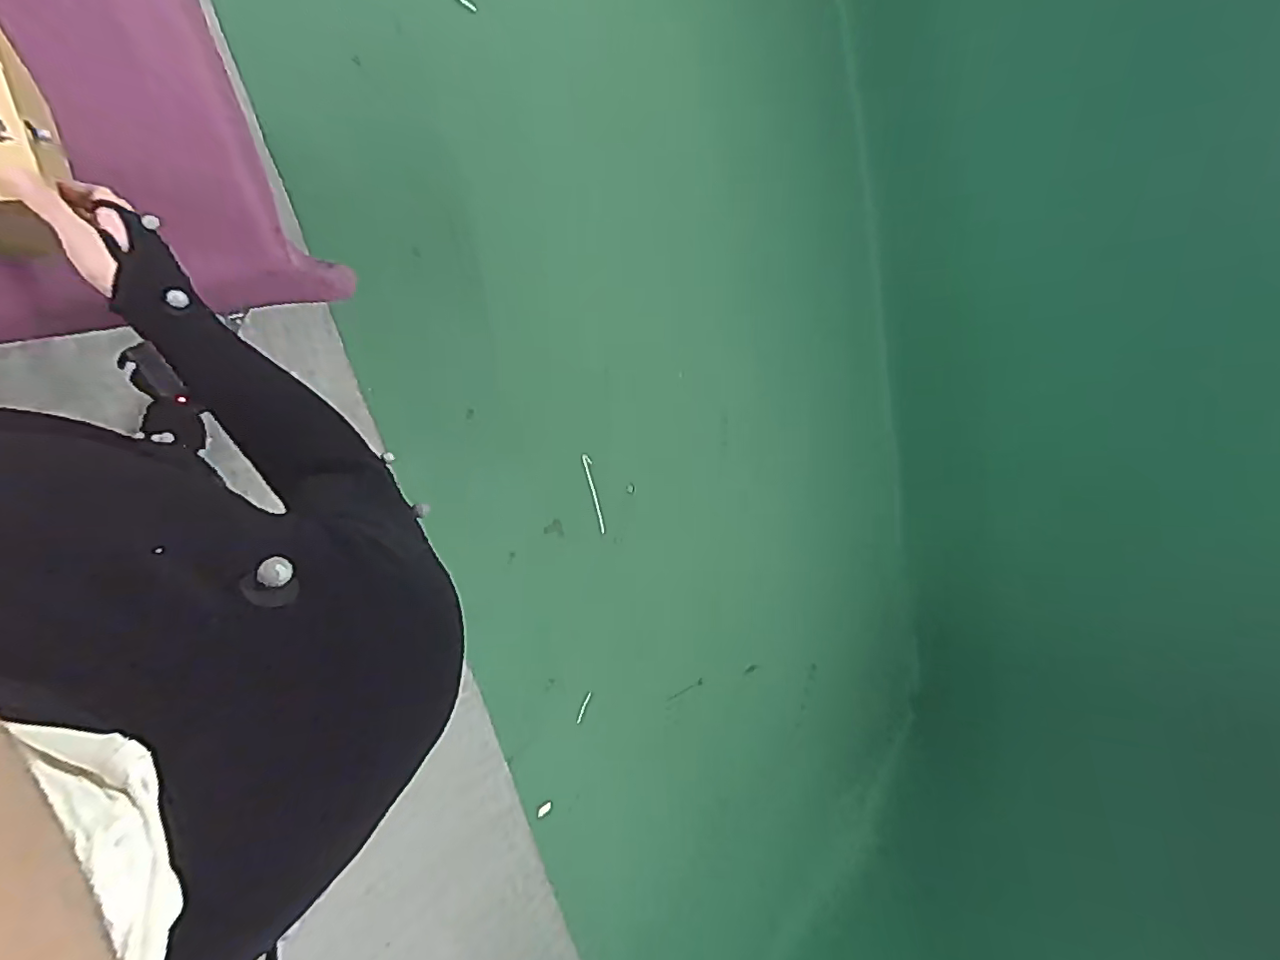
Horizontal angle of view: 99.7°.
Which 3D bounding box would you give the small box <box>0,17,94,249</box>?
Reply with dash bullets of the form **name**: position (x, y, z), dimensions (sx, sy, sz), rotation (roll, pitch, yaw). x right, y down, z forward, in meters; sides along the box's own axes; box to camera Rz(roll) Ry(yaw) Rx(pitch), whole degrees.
- **small box**: position (-0.624, -0.303, 0.457), dimensions (0.179, 0.176, 0.168), rotation (-16, 102, -32)
